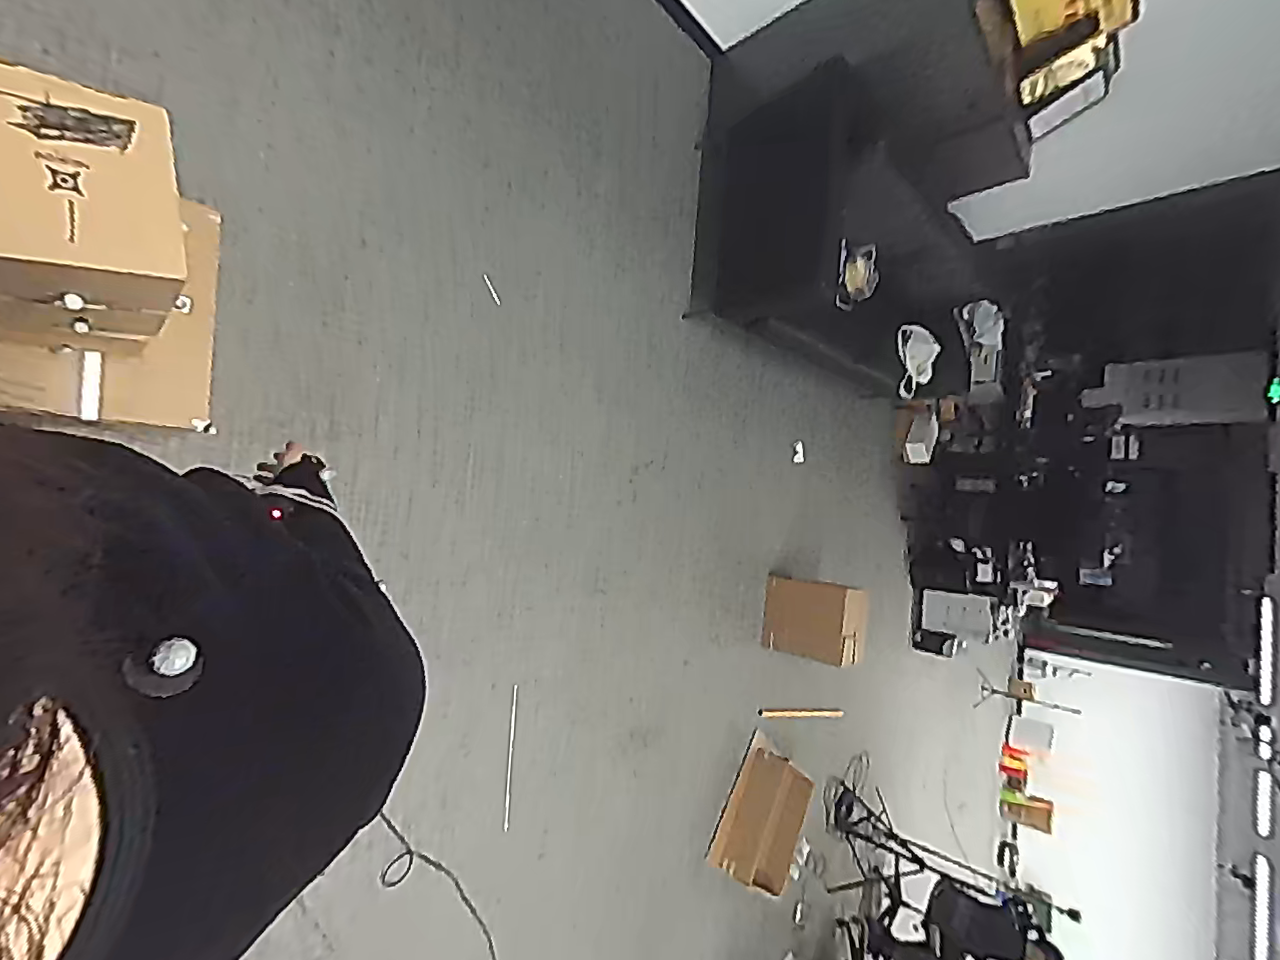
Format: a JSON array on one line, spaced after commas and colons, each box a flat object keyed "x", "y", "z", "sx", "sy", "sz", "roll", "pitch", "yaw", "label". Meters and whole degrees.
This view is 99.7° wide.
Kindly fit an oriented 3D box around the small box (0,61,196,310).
[{"x": -0.594, "y": -0.293, "z": 0.572, "sx": 0.168, "sy": 0.176, "sz": 0.179, "roll": -8, "pitch": 98, "yaw": -45, "label": "small box"}]

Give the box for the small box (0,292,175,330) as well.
[{"x": -0.712, "y": -0.295, "z": 0.688, "sx": 0.168, "sy": 0.176, "sz": 0.179, "roll": -7, "pitch": 97, "yaw": -45, "label": "small box"}]
